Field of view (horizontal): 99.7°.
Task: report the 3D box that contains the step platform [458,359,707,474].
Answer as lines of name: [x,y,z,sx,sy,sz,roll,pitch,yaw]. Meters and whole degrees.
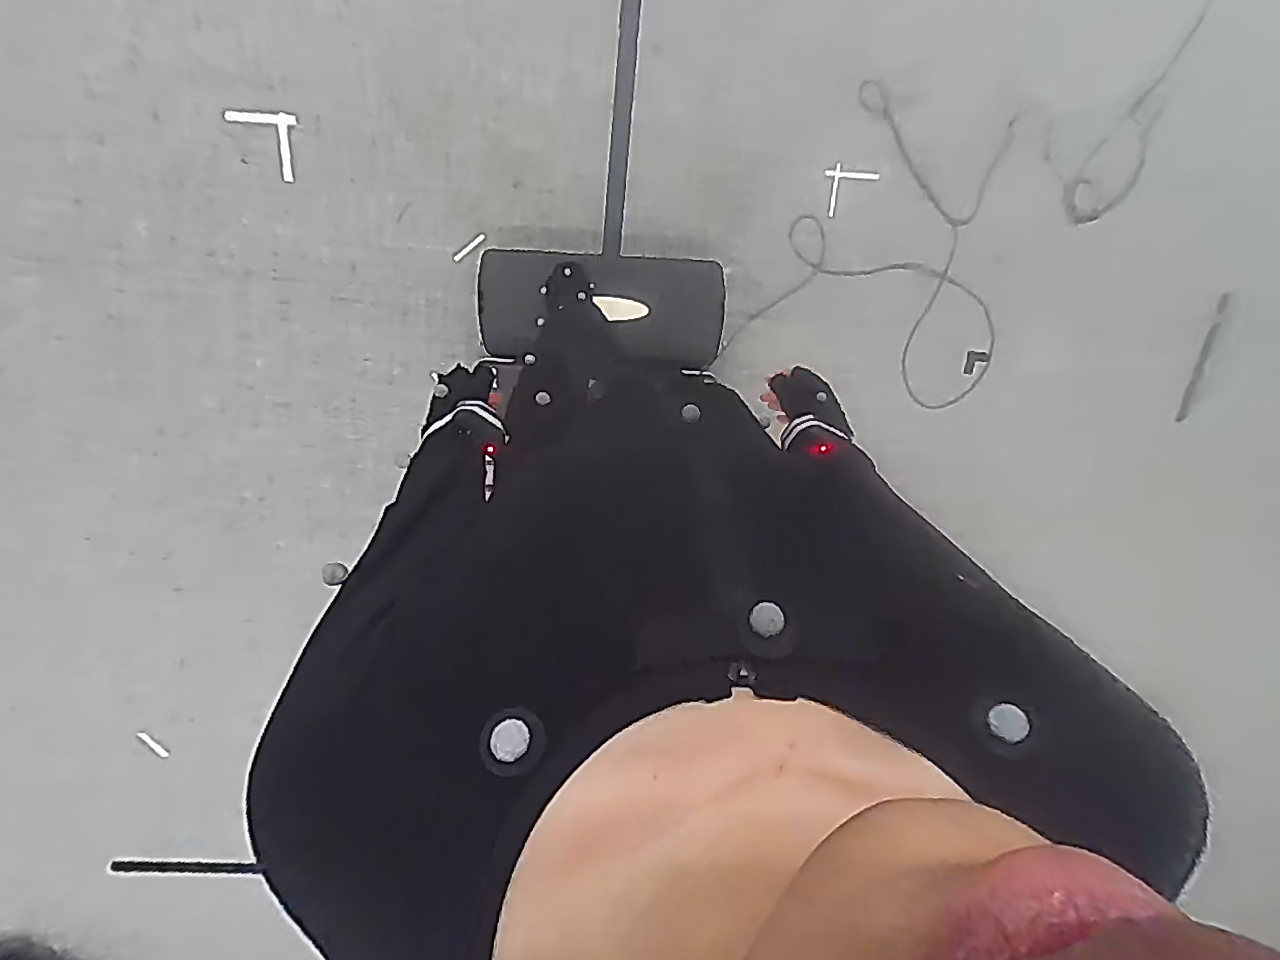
step platform: [-0.153,-0.180,1.525,0.684,0.204,0.286,2,104,-3]
